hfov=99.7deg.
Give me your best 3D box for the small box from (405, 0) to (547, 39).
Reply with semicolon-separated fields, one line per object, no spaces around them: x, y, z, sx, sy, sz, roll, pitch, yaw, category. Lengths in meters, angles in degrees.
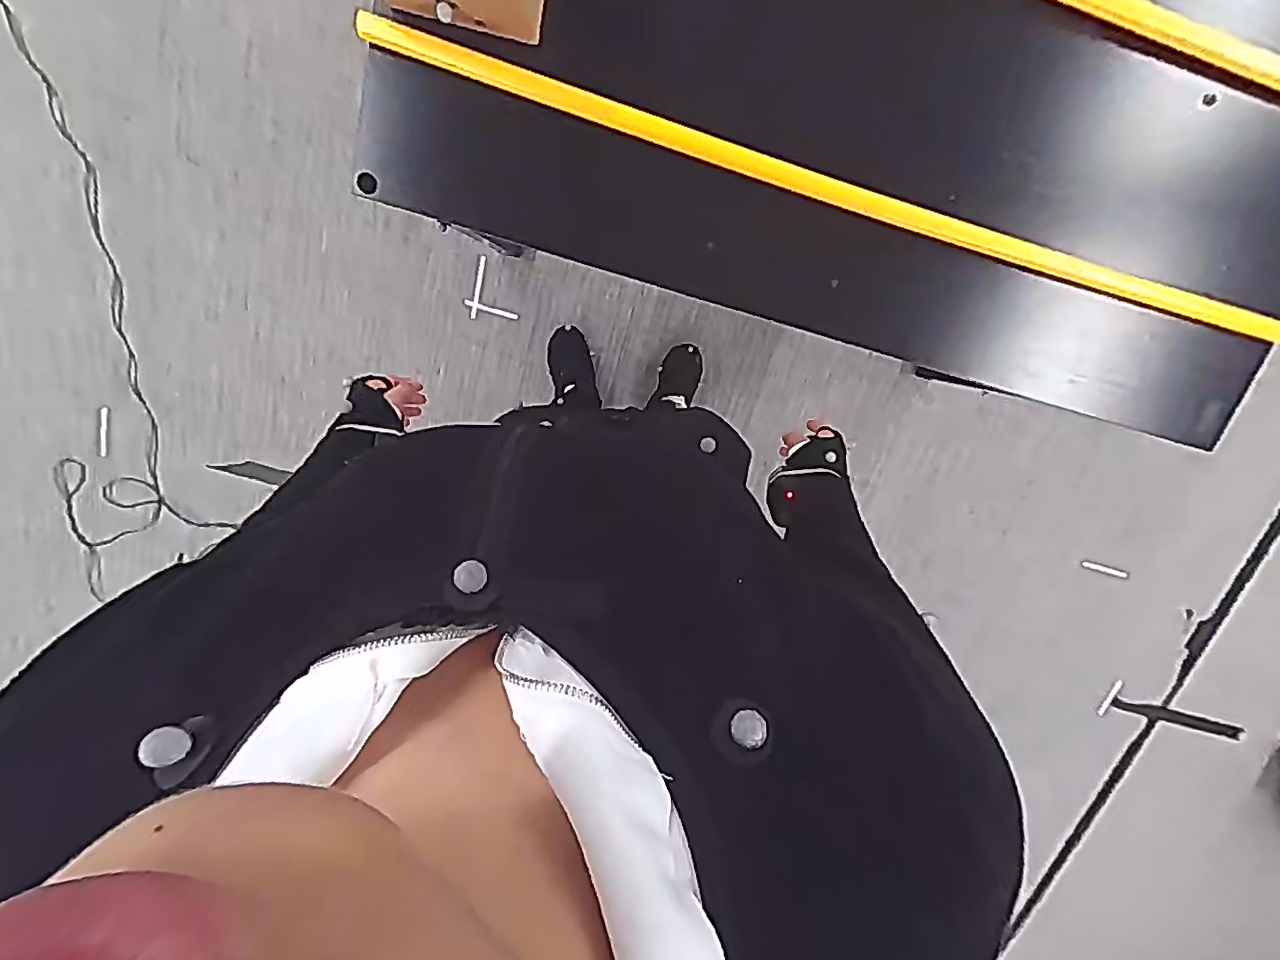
-0.167;-0.565;0.499;0.168;0.176;0.179;11;107;-6;small box
